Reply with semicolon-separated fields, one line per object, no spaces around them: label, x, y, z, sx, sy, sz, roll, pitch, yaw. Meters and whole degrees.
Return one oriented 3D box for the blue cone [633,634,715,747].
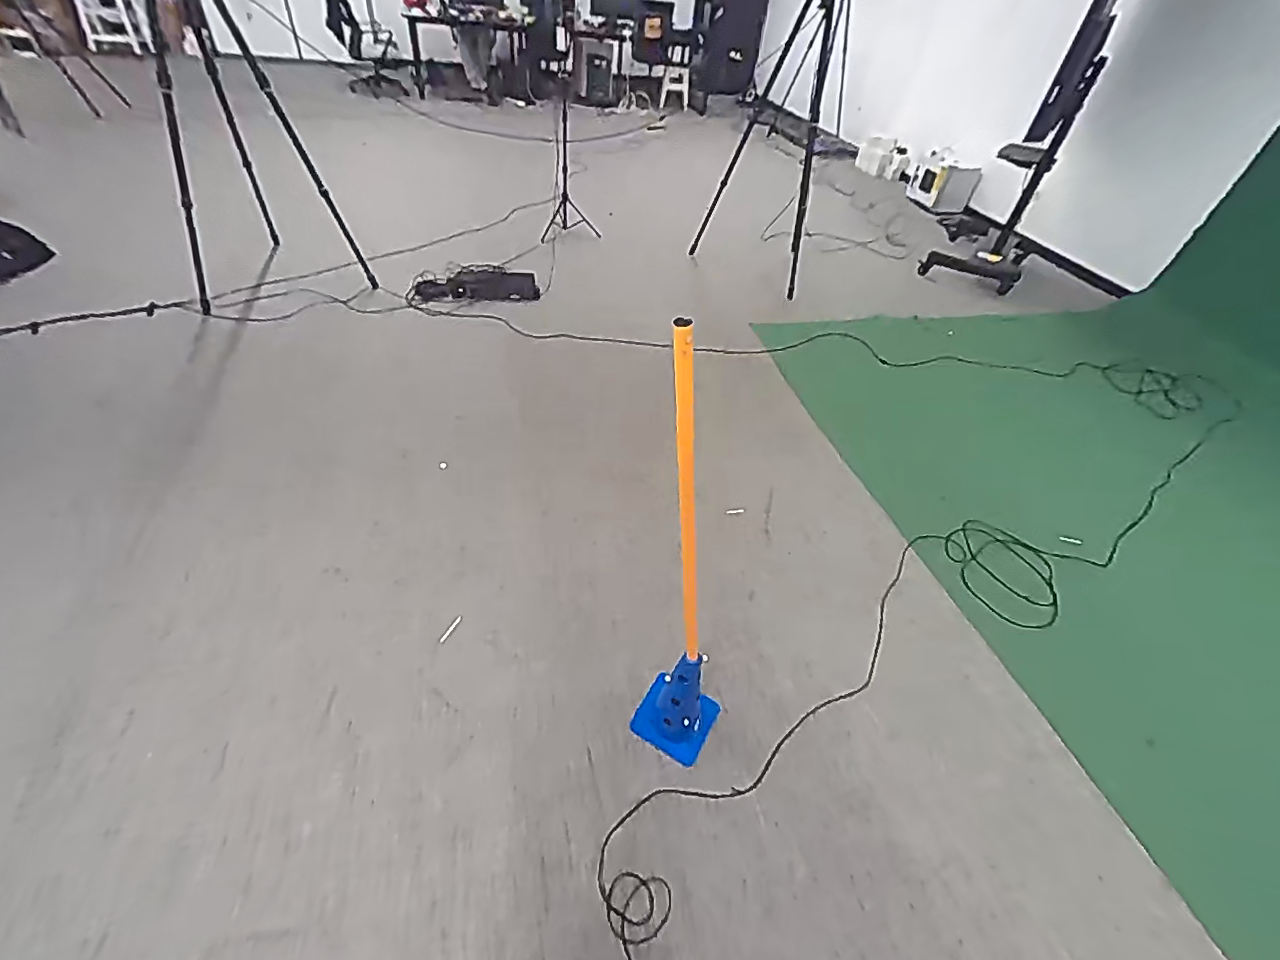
blue cone;0.104;0.508;1.378;0.193;0.380;0.192;24;48;18
